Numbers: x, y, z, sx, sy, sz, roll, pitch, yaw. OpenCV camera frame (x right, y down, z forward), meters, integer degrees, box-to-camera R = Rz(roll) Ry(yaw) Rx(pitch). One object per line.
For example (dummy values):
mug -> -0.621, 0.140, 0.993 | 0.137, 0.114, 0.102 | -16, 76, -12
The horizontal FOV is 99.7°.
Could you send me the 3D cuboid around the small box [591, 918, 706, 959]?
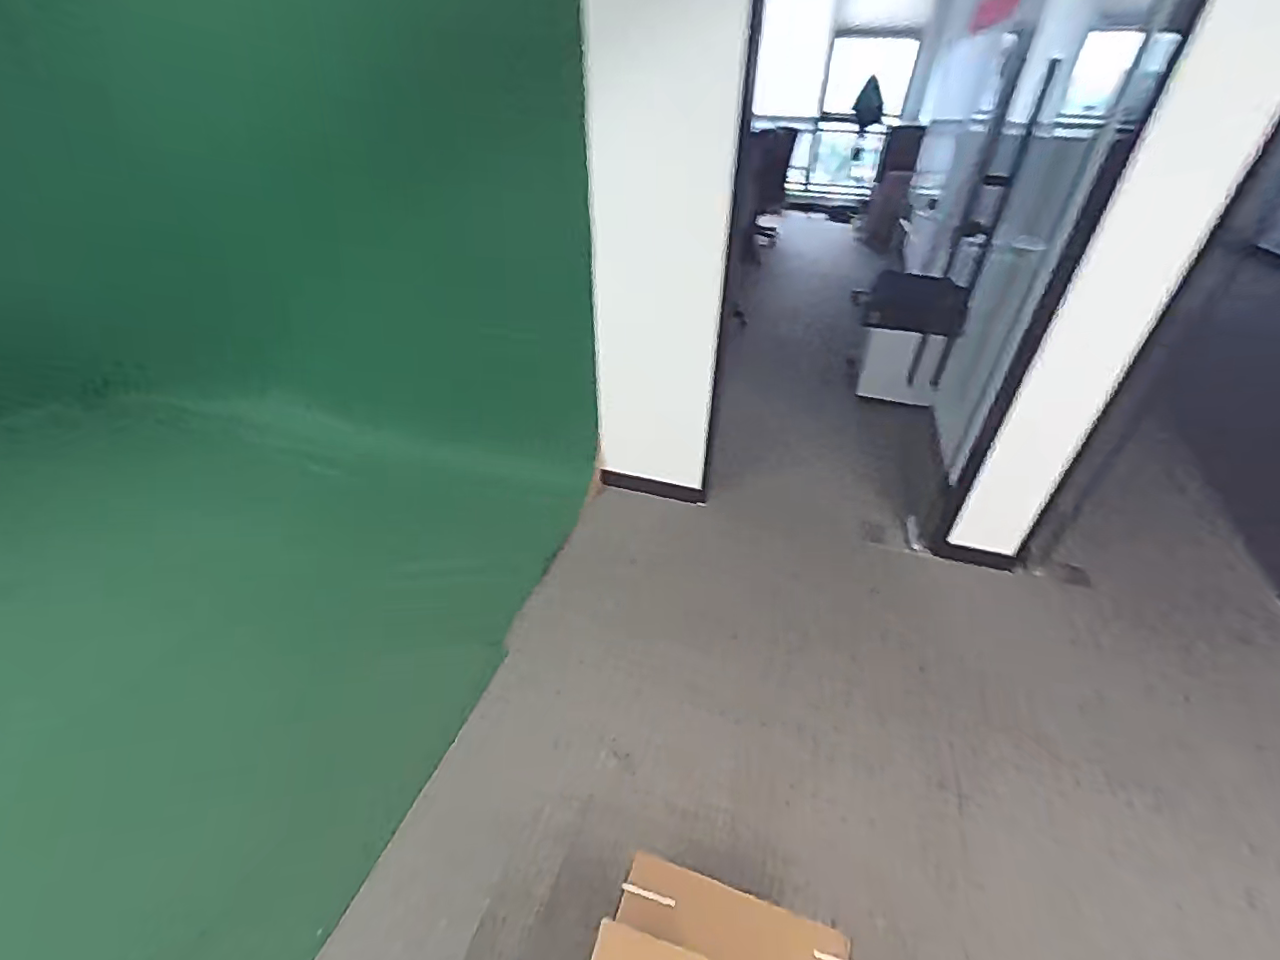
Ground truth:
small box -> 0.000, 0.800, 0.796 | 0.179, 0.176, 0.168 | 11, 35, 14
